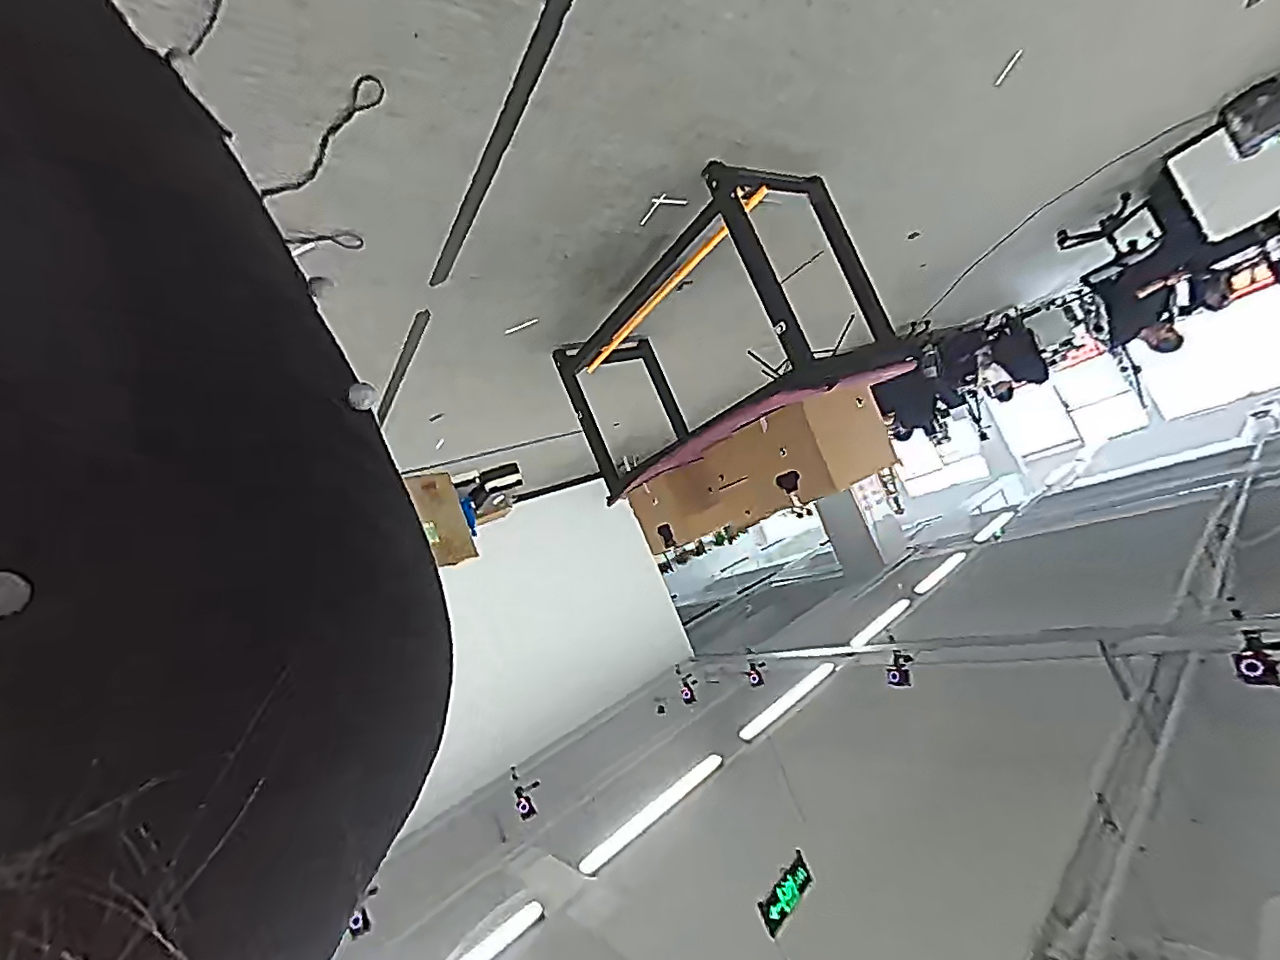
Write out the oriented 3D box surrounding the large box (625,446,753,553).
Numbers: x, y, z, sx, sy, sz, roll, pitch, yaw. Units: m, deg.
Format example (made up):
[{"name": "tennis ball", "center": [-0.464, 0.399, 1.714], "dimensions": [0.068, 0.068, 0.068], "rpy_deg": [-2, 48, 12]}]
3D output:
[{"name": "large box", "center": [0.210, 0.083, 2.397], "dimensions": [0.408, 0.320, 0.320], "rpy_deg": [-20, 174, -38]}]
